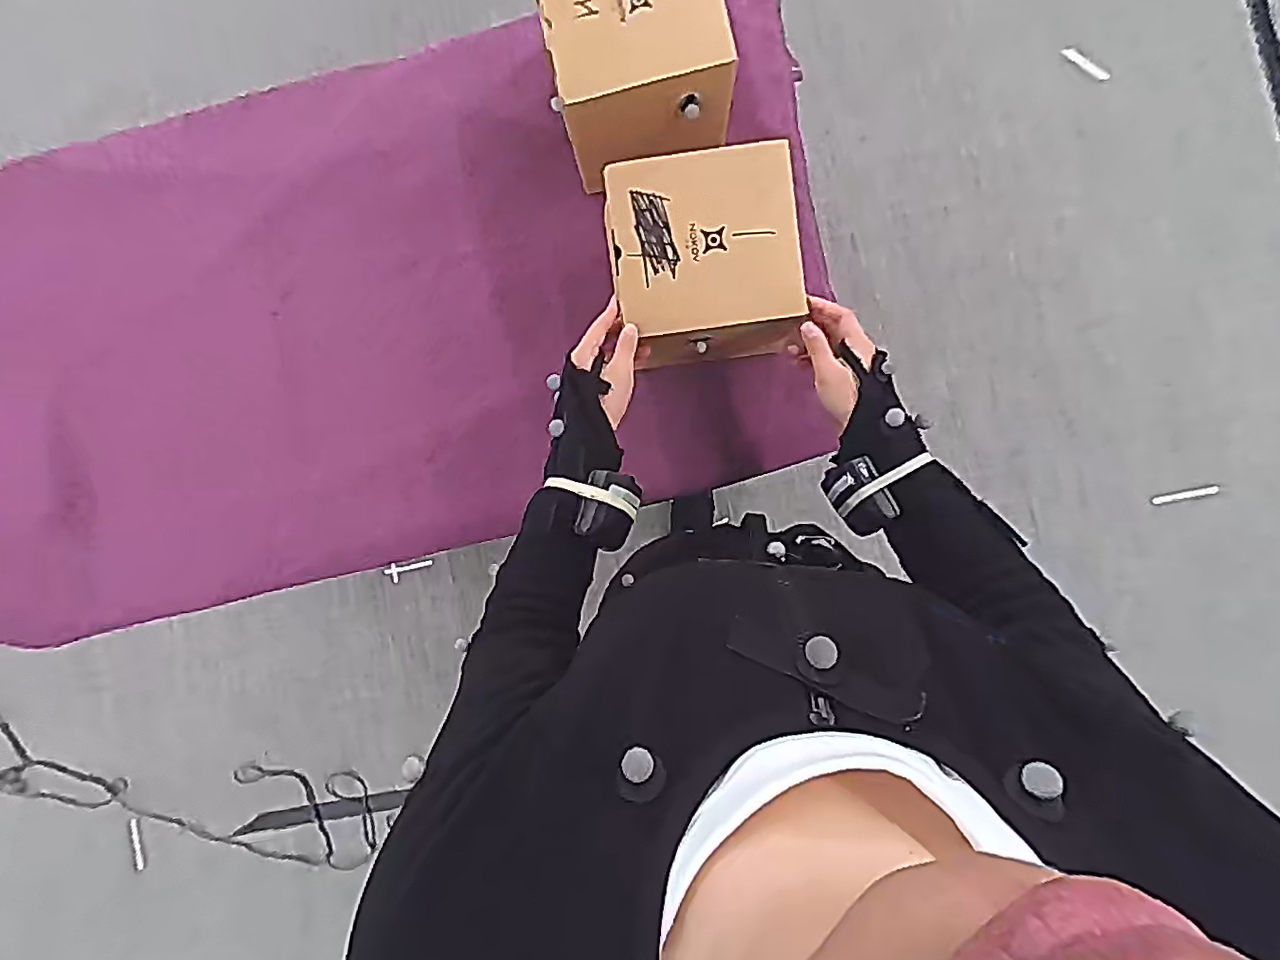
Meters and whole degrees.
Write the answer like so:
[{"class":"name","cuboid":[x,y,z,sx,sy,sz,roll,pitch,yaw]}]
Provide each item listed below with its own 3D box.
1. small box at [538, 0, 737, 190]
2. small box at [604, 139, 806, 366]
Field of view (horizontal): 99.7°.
[{"class":"small box","cuboid":[-0.005,-0.457,0.595,0.179,0.176,0.168,-13,89,4]},{"class":"small box","cuboid":[0.066,-0.226,0.585,0.179,0.176,0.168,-7,92,4]}]
